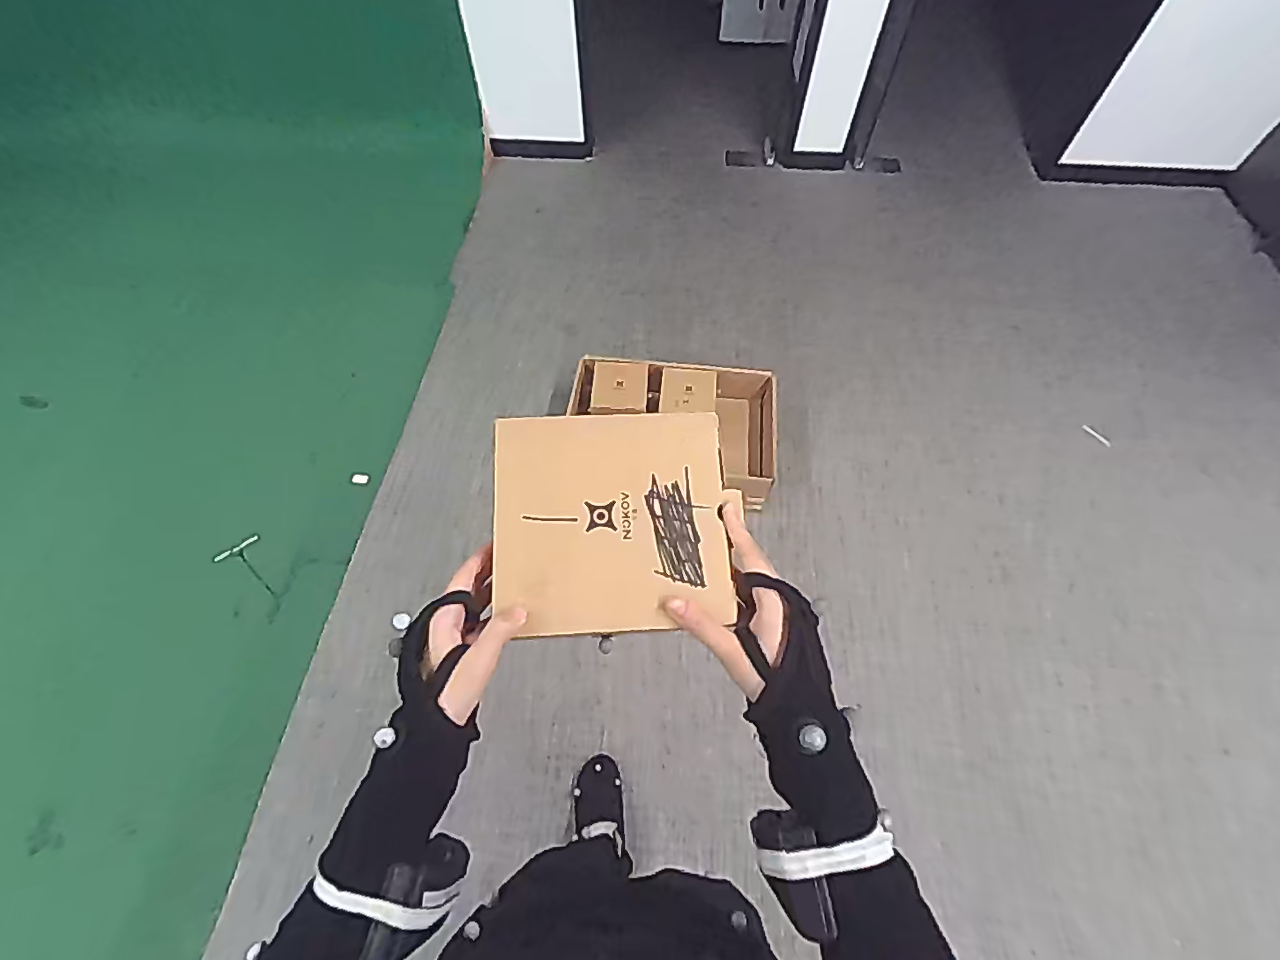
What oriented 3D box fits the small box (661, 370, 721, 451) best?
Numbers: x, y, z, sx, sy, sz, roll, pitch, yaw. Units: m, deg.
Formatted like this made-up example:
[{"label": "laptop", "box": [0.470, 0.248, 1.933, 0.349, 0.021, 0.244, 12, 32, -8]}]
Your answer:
[{"label": "small box", "box": [0.155, -0.213, 1.668, 0.168, 0.176, 0.179, 5, 60, 5]}]
